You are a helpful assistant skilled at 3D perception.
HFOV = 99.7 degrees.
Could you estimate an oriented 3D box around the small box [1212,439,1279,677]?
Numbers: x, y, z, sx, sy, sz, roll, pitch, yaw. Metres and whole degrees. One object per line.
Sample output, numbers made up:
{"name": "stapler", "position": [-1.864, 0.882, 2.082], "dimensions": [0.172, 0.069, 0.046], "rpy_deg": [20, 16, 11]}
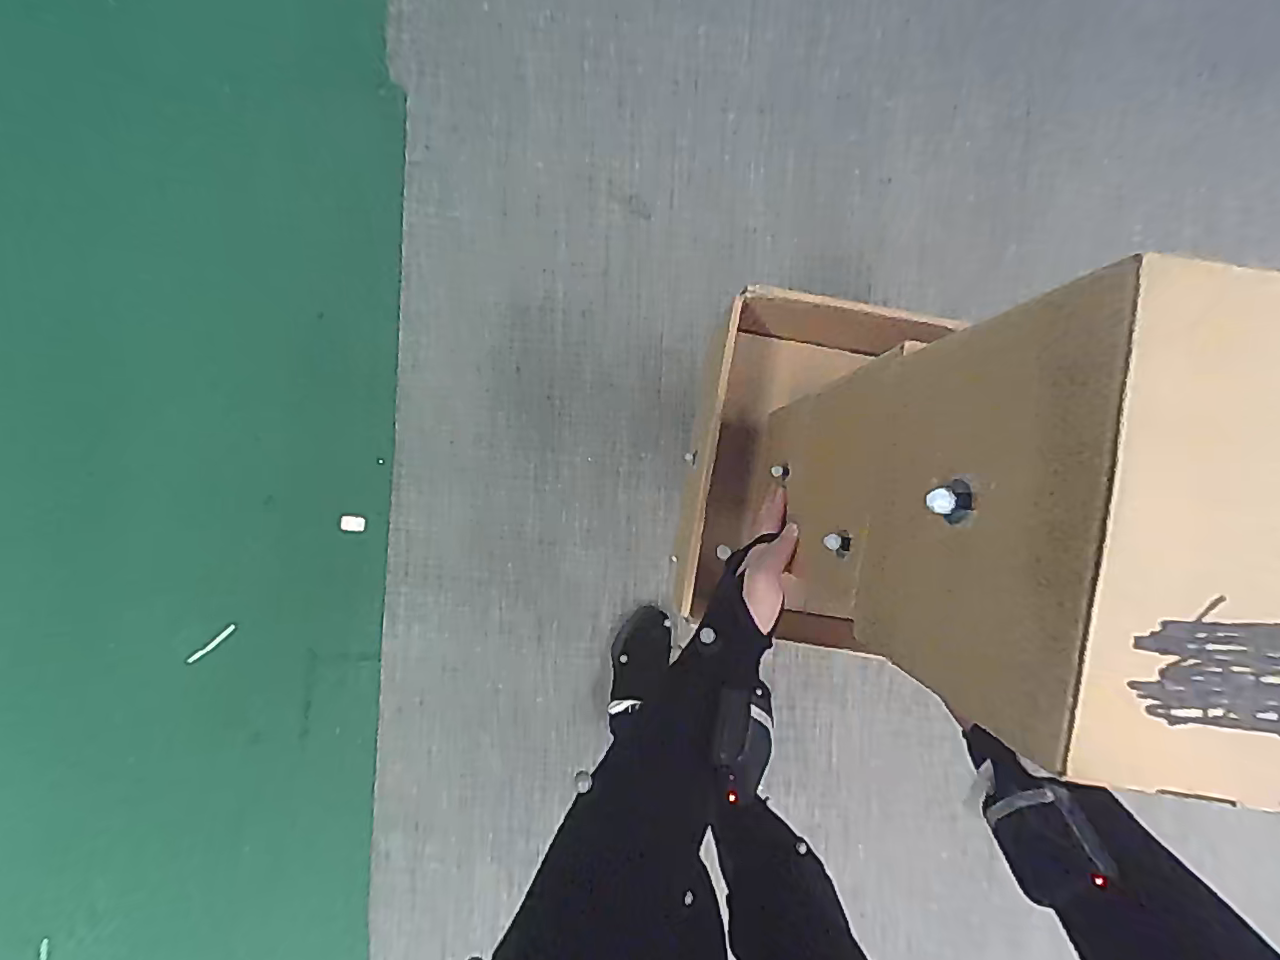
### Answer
{"name": "small box", "position": [0.533, 0.066, 0.344], "dimensions": [0.168, 0.176, 0.179], "rpy_deg": [8, 90, -2]}

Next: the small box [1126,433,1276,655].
{"name": "small box", "position": [0.526, 0.057, 0.507], "dimensions": [0.168, 0.176, 0.179], "rpy_deg": [8, 92, -3]}

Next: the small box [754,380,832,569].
{"name": "small box", "position": [0.230, 0.007, 0.576], "dimensions": [0.168, 0.176, 0.179], "rpy_deg": [10, 91, -1]}
